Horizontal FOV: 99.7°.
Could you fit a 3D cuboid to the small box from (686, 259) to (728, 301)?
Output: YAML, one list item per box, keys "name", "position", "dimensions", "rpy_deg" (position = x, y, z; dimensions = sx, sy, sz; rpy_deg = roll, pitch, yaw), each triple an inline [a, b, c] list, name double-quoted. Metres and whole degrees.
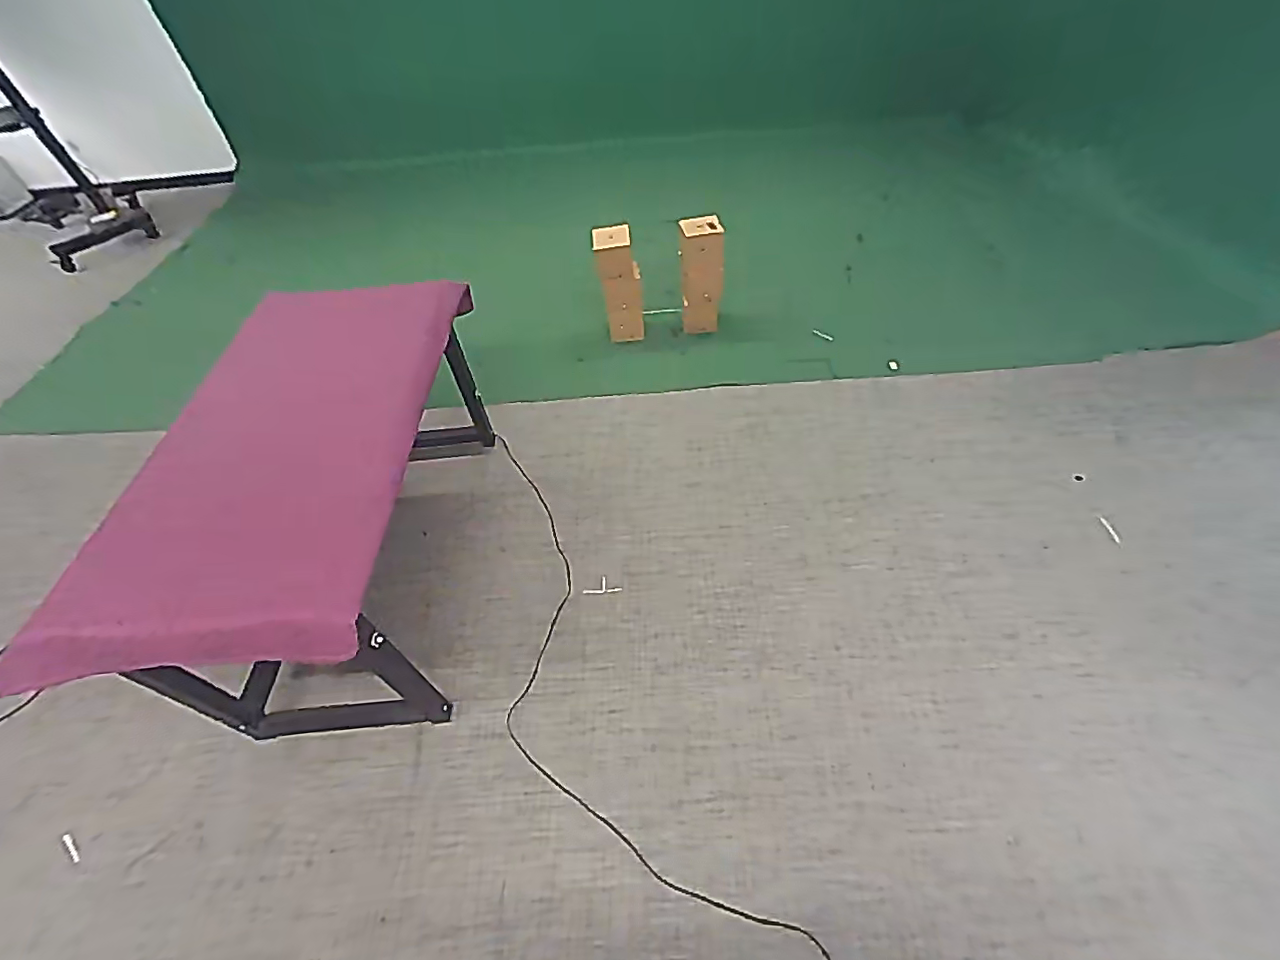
- name: "small box"
  position: [0.314, -0.983, 2.587]
  dimensions: [0.168, 0.176, 0.179]
  rpy_deg: [-12, 51, -3]

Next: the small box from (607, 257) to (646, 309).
- name: "small box"
  position: [-0.066, -0.942, 2.594]
  dimensions: [0.179, 0.176, 0.168]
  rpy_deg: [-7, 49, 0]

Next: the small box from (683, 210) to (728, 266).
- name: "small box"
  position: [0.297, -1.102, 2.472]
  dimensions: [0.179, 0.176, 0.168]
  rpy_deg: [-10, 50, -1]

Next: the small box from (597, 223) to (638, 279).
- name: "small box"
  position: [-0.103, -1.046, 2.472]
  dimensions: [0.168, 0.176, 0.179]
  rpy_deg: [-7, 50, 3]

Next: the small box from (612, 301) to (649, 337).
- name: "small box"
  position: [-0.047, -0.837, 2.718]
  dimensions: [0.168, 0.176, 0.179]
  rpy_deg: [-6, 49, 2]
